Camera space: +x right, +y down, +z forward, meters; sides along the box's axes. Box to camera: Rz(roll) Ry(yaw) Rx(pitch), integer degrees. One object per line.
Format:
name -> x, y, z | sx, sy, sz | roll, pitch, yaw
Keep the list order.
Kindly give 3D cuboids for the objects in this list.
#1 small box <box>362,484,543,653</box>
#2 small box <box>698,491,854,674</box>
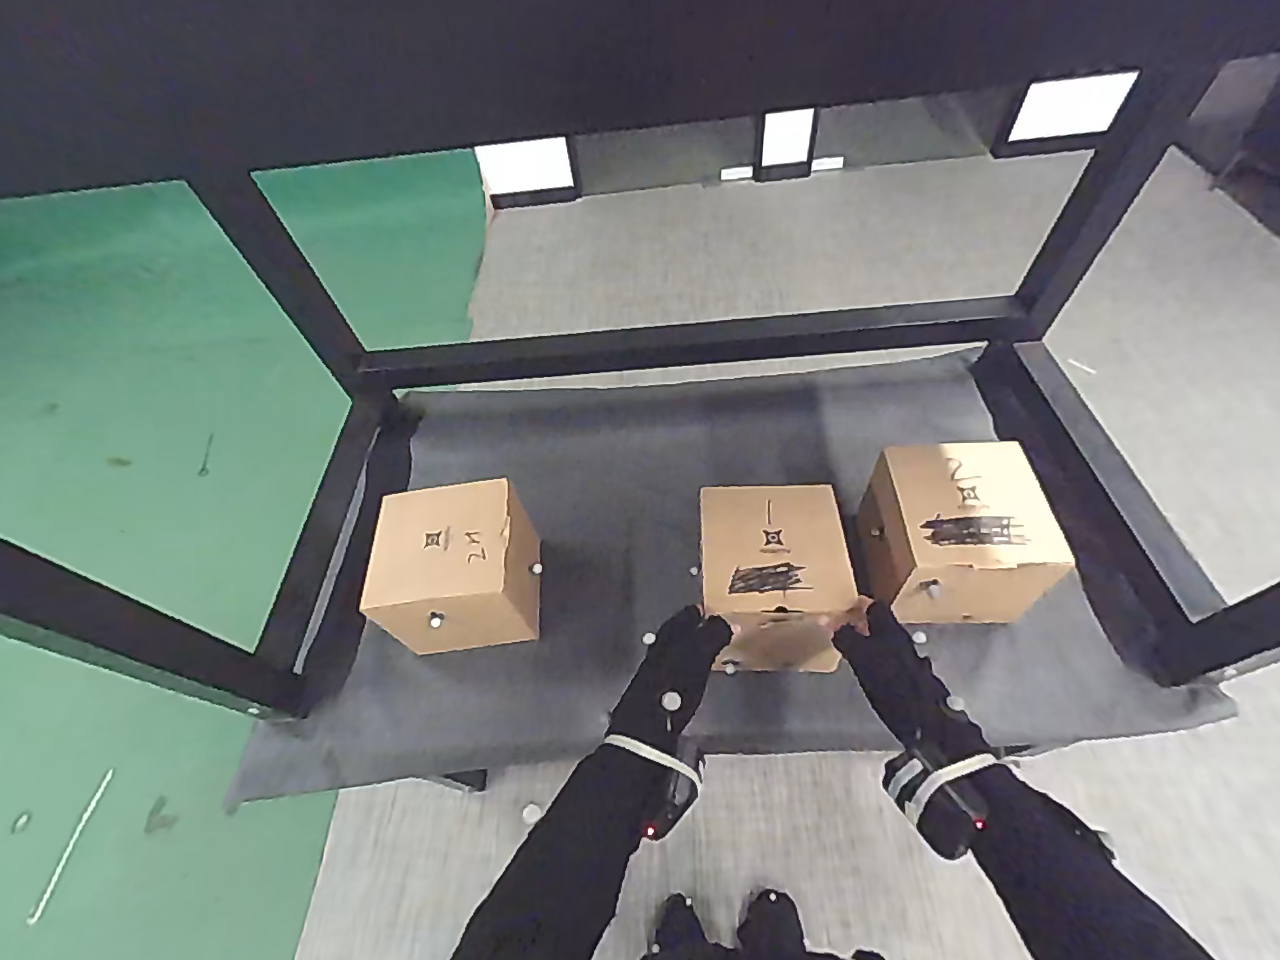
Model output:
small box -> -0.243, 0.128, 0.748 | 0.179, 0.176, 0.168 | -7, 54, 1
small box -> 0.159, 0.134, 0.687 | 0.168, 0.176, 0.179 | -1, 49, 6
